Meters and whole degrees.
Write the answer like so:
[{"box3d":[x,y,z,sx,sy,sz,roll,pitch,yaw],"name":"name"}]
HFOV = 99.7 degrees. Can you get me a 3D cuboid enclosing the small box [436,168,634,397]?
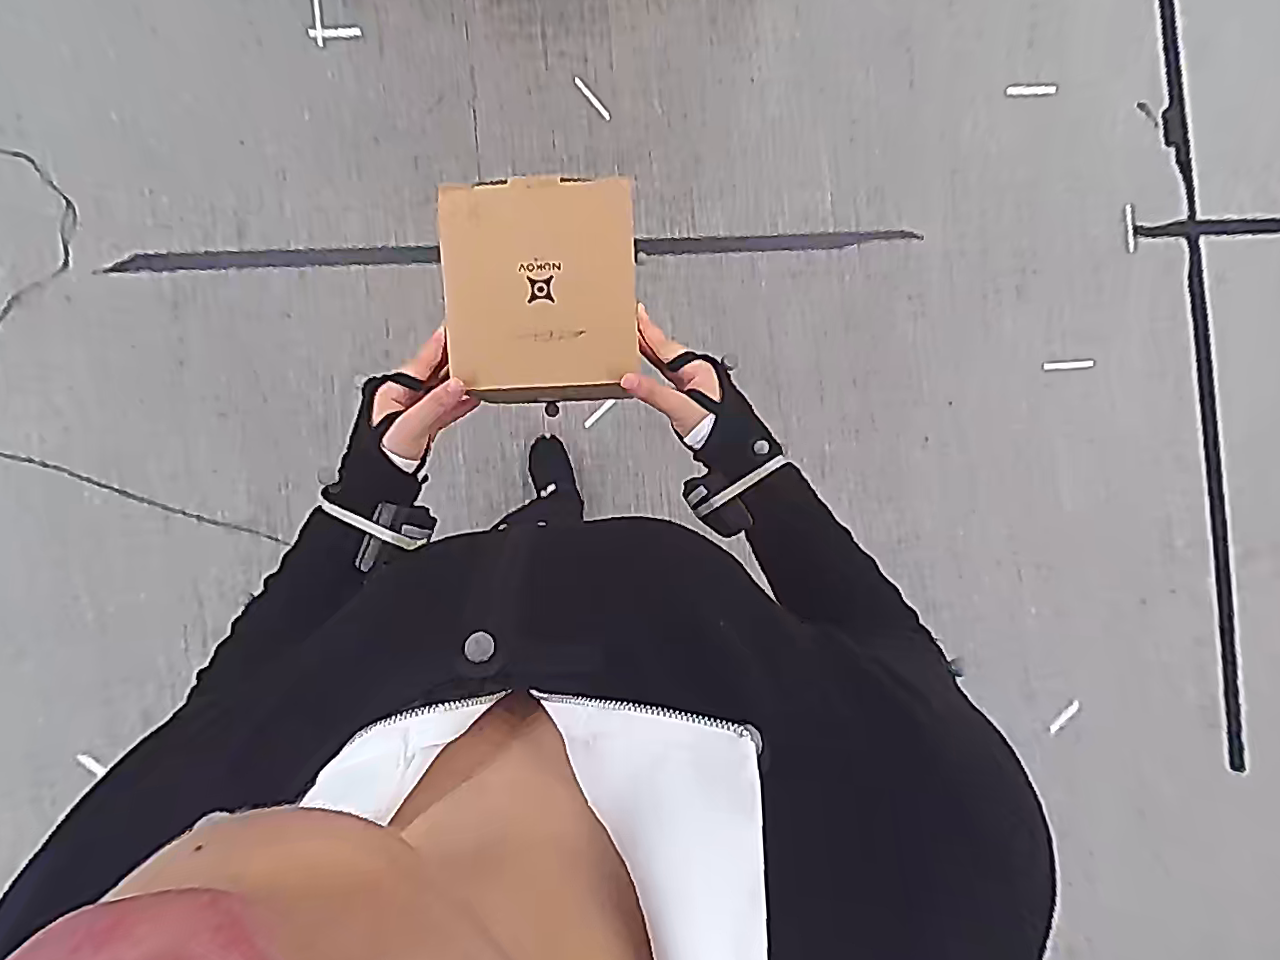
[{"box3d":[-0.093,-0.181,0.543,0.168,0.176,0.179,-3,94,-2],"name":"small box"}]
